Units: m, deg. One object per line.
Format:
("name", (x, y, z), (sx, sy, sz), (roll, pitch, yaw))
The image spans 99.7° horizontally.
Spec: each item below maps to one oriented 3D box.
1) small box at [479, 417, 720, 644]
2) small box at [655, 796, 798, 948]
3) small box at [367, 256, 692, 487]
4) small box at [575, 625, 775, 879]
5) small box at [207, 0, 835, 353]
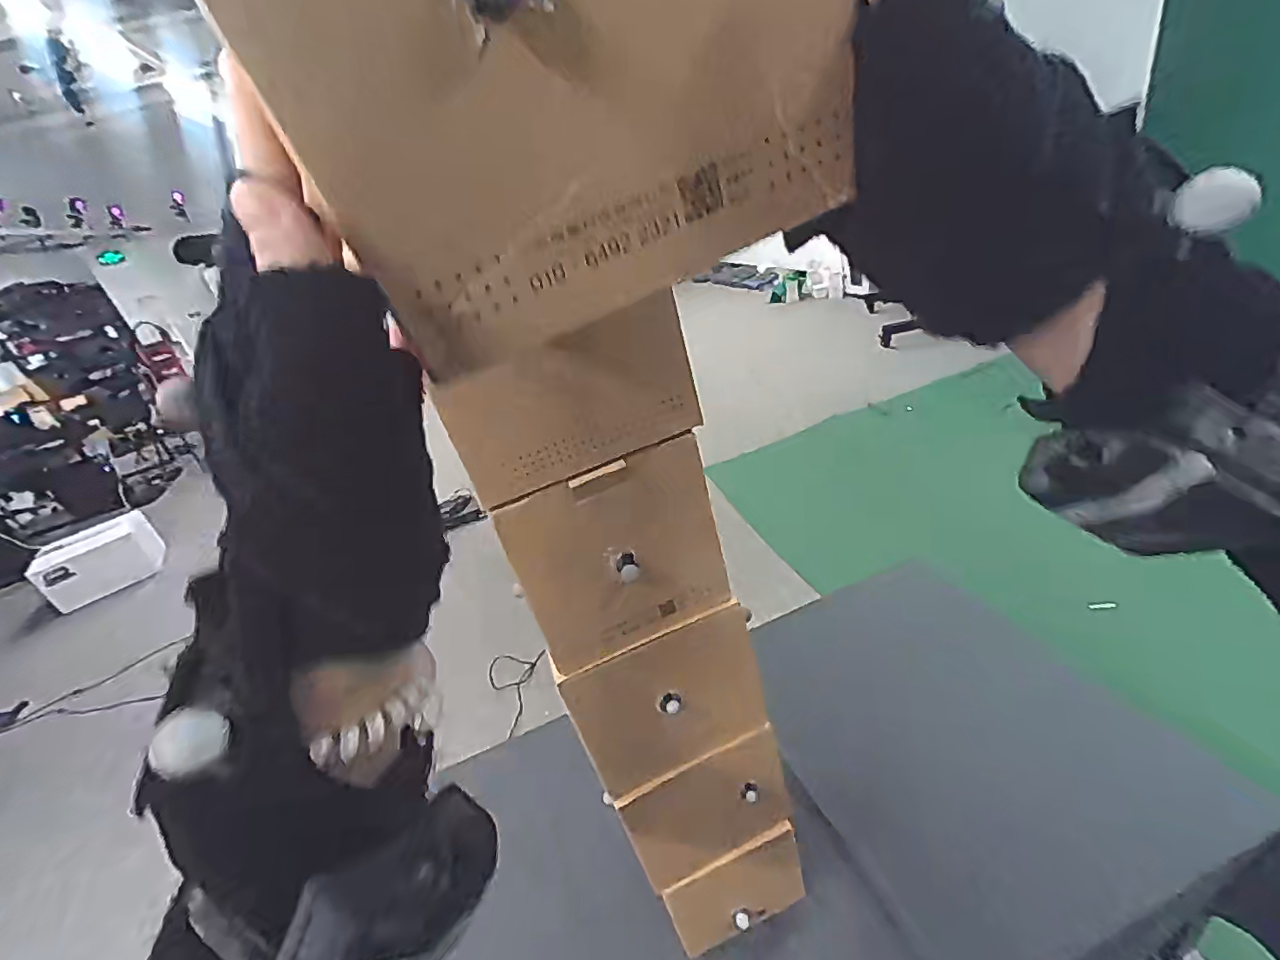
("small box", (-0.042, 0.026, 0.504), (0.168, 0.176, 0.179), (-22, 28, -11))
("small box", (0.088, 0.450, 0.711), (0.168, 0.176, 0.179), (-21, 29, -9))
("small box", (-0.079, -0.116, 0.427), (0.179, 0.176, 0.168), (-22, 27, -9))
("small box", (0.044, 0.312, 0.637), (0.179, 0.176, 0.168), (-22, 28, -11))
("small box", (-0.046, -0.169, 0.198), (0.168, 0.176, 0.179), (-27, 42, -8))
